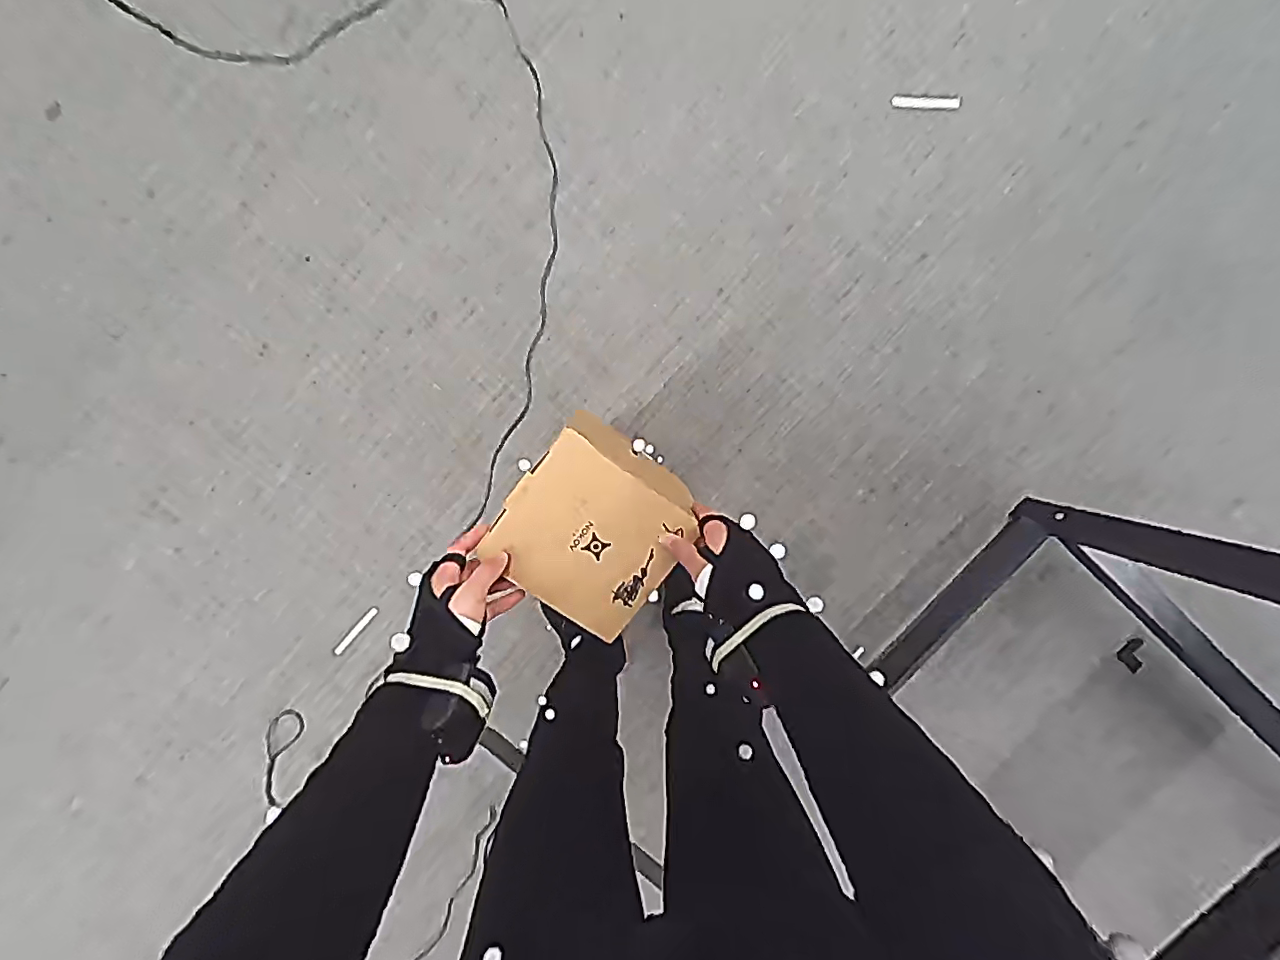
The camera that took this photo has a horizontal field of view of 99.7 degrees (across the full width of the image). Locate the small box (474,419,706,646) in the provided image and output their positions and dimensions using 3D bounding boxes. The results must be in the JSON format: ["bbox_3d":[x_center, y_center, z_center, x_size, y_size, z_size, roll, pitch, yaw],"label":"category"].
[{"bbox_3d":[-0.053,0.045,0.616,0.179,0.176,0.168,36,100,-10],"label":"small box"}]
